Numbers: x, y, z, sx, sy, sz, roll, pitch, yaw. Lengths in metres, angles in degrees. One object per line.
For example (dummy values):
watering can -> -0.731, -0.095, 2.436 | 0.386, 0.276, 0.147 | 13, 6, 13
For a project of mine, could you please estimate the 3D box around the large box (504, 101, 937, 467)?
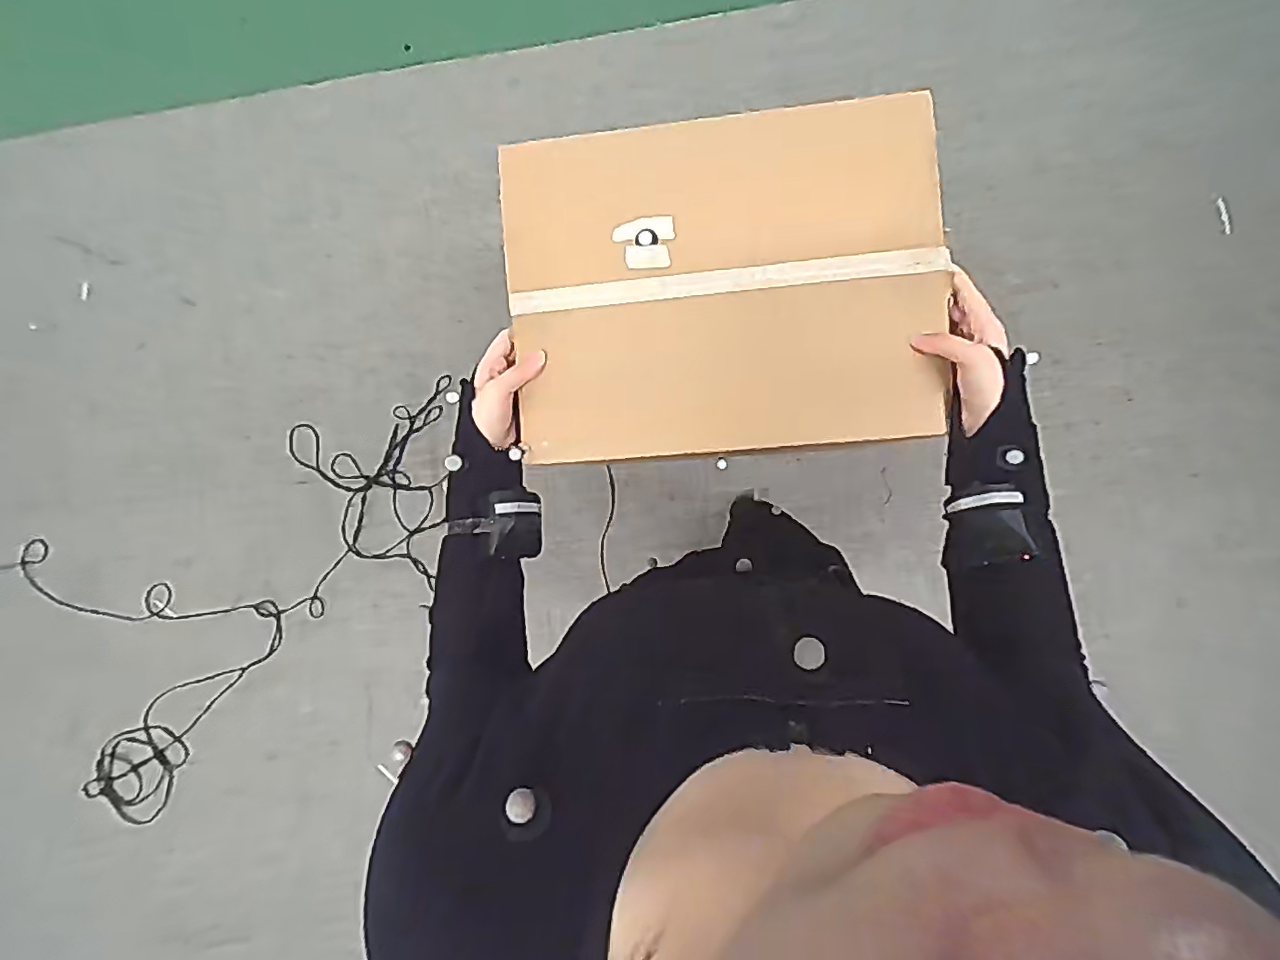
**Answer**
large box -> 0.089, -0.188, 0.673 | 0.408, 0.320, 0.320 | -4, 90, 7
